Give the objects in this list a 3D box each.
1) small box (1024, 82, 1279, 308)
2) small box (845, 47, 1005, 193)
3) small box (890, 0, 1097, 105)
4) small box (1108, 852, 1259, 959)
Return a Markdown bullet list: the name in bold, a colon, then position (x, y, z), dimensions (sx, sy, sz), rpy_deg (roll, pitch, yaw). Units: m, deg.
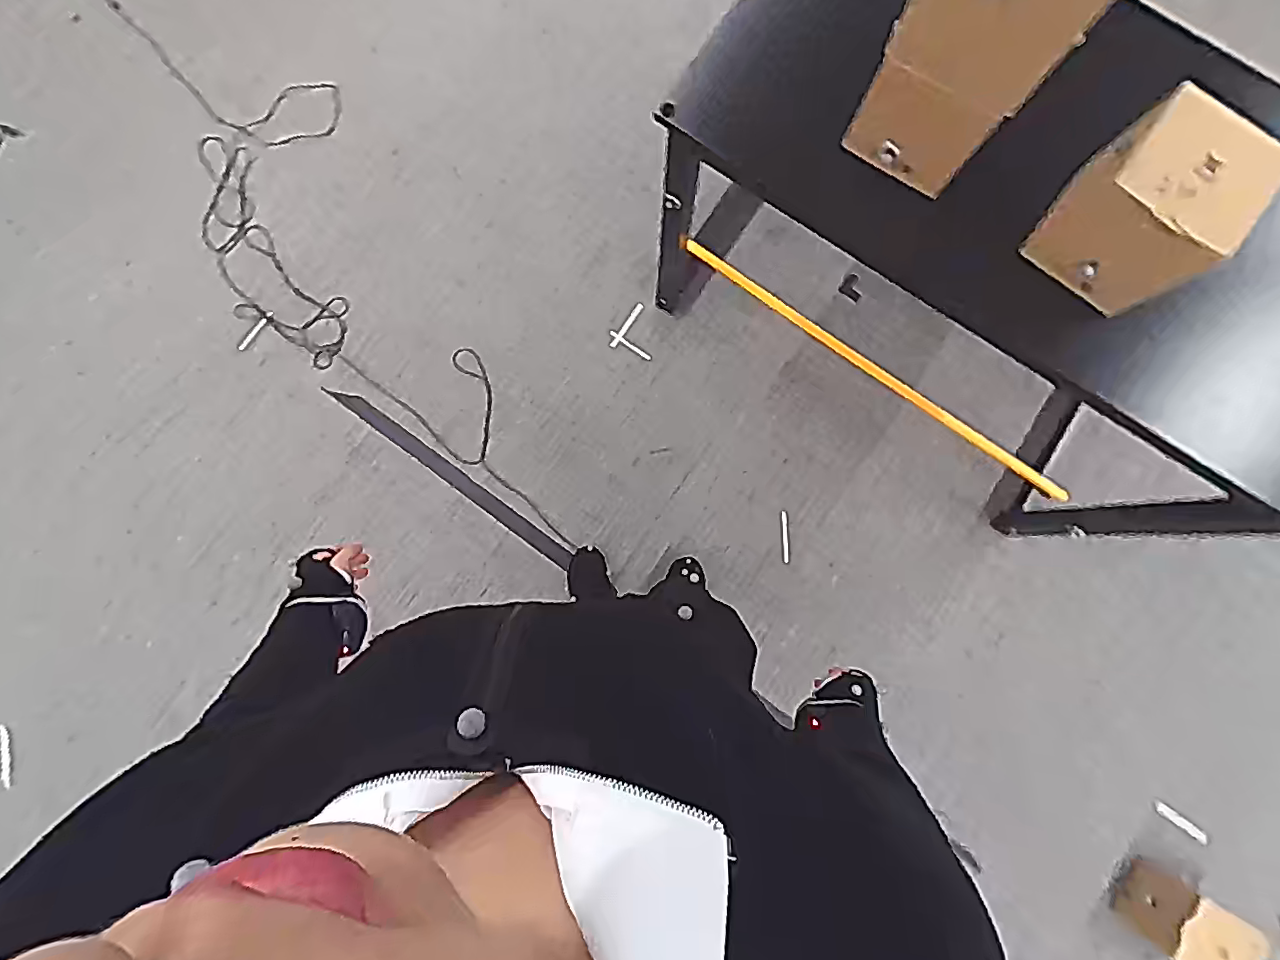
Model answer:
- **small box**: position (0.691, -0.379, 0.749), dimensions (0.168, 0.176, 0.179), rpy_deg (38, 85, 4)
- **small box**: position (0.422, -0.560, 0.768), dimensions (0.168, 0.176, 0.179), rpy_deg (30, 86, 4)
- **small box**: position (0.419, -0.575, 0.604), dimensions (0.179, 0.176, 0.168), rpy_deg (30, 85, 3)
- **small box**: position (1.335, 1.074, 1.343), dimensions (0.179, 0.176, 0.168), rpy_deg (34, 85, 3)
